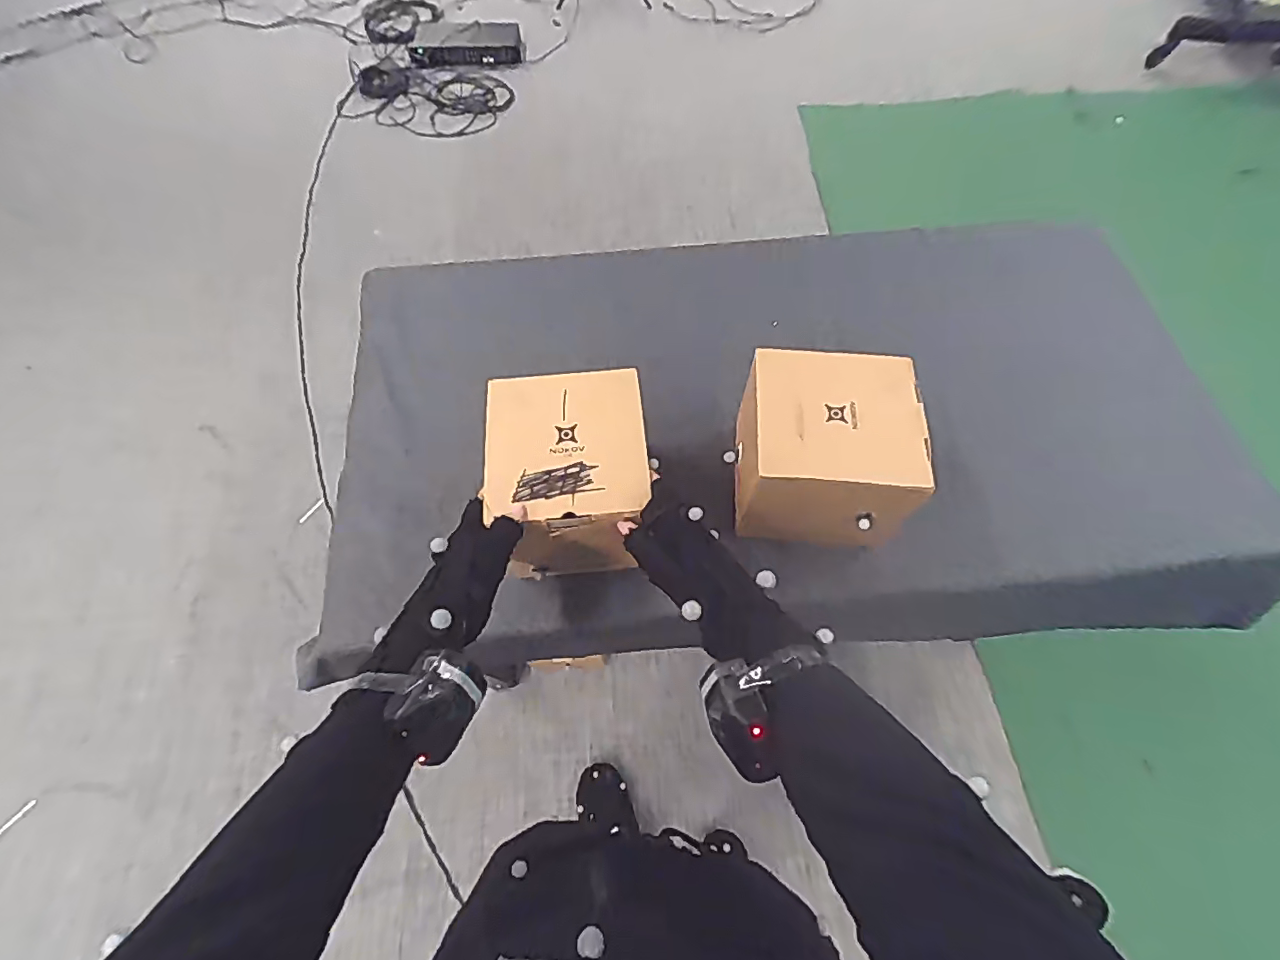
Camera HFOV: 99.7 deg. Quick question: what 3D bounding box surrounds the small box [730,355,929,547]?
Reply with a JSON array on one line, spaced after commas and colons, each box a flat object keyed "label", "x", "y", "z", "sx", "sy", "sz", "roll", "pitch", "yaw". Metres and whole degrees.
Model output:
[{"label": "small box", "x": 0.210, "y": -0.026, "z": 0.646, "sx": 0.179, "sy": 0.176, "sz": 0.168, "roll": 4, "pitch": 63, "yaw": 3}]

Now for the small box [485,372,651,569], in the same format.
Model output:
[{"label": "small box", "x": -0.074, "y": -0.001, "z": 0.630, "sx": 0.168, "sy": 0.176, "sz": 0.179, "roll": -4, "pitch": 63, "yaw": -2}]
